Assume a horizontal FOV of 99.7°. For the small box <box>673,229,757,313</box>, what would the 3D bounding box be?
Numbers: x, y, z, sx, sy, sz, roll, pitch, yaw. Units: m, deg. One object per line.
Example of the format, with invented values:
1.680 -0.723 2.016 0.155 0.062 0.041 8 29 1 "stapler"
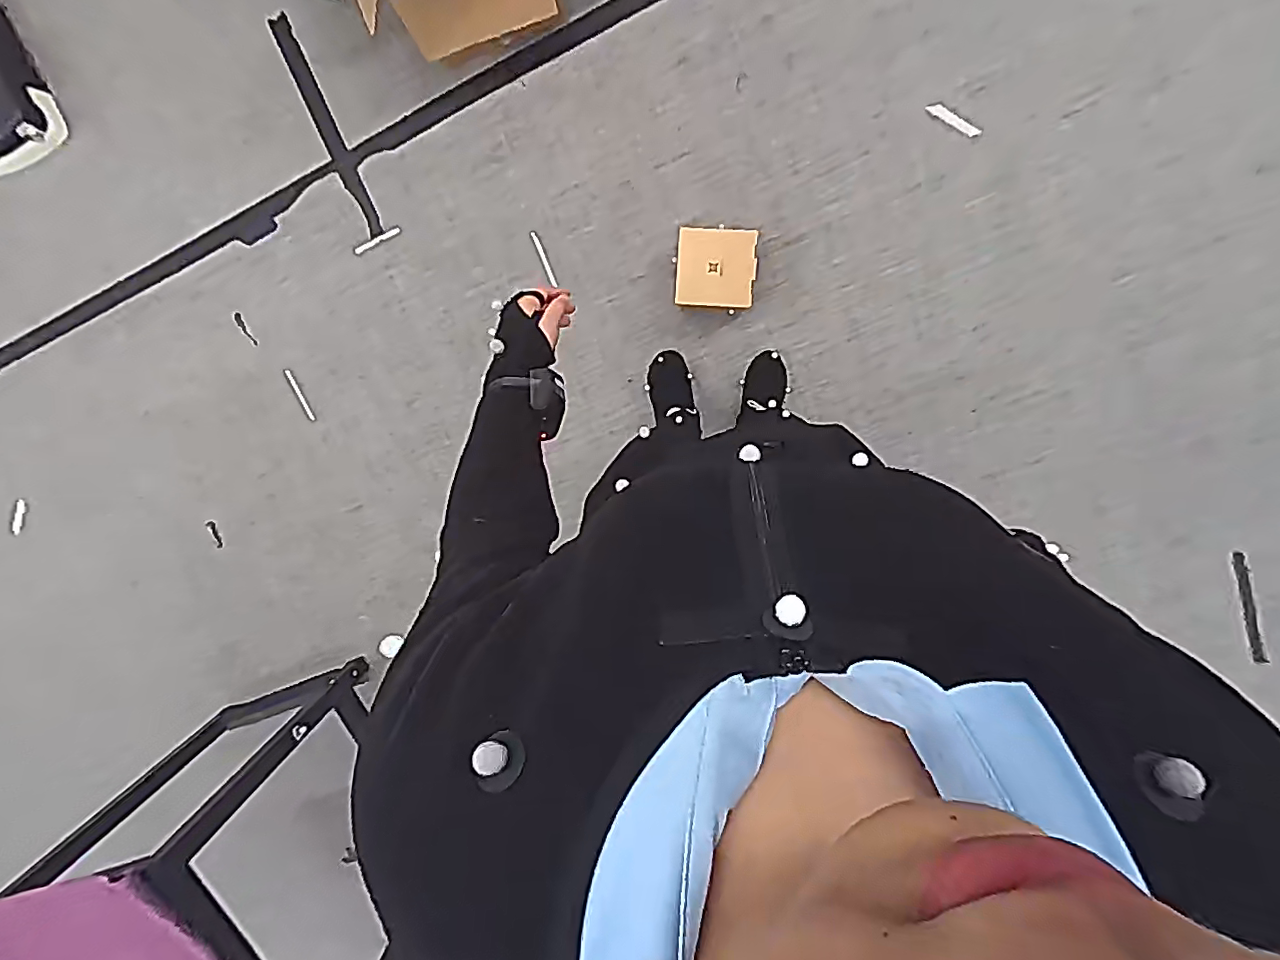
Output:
0.174 -0.492 1.294 0.179 0.176 0.168 4 105 3 "small box"
